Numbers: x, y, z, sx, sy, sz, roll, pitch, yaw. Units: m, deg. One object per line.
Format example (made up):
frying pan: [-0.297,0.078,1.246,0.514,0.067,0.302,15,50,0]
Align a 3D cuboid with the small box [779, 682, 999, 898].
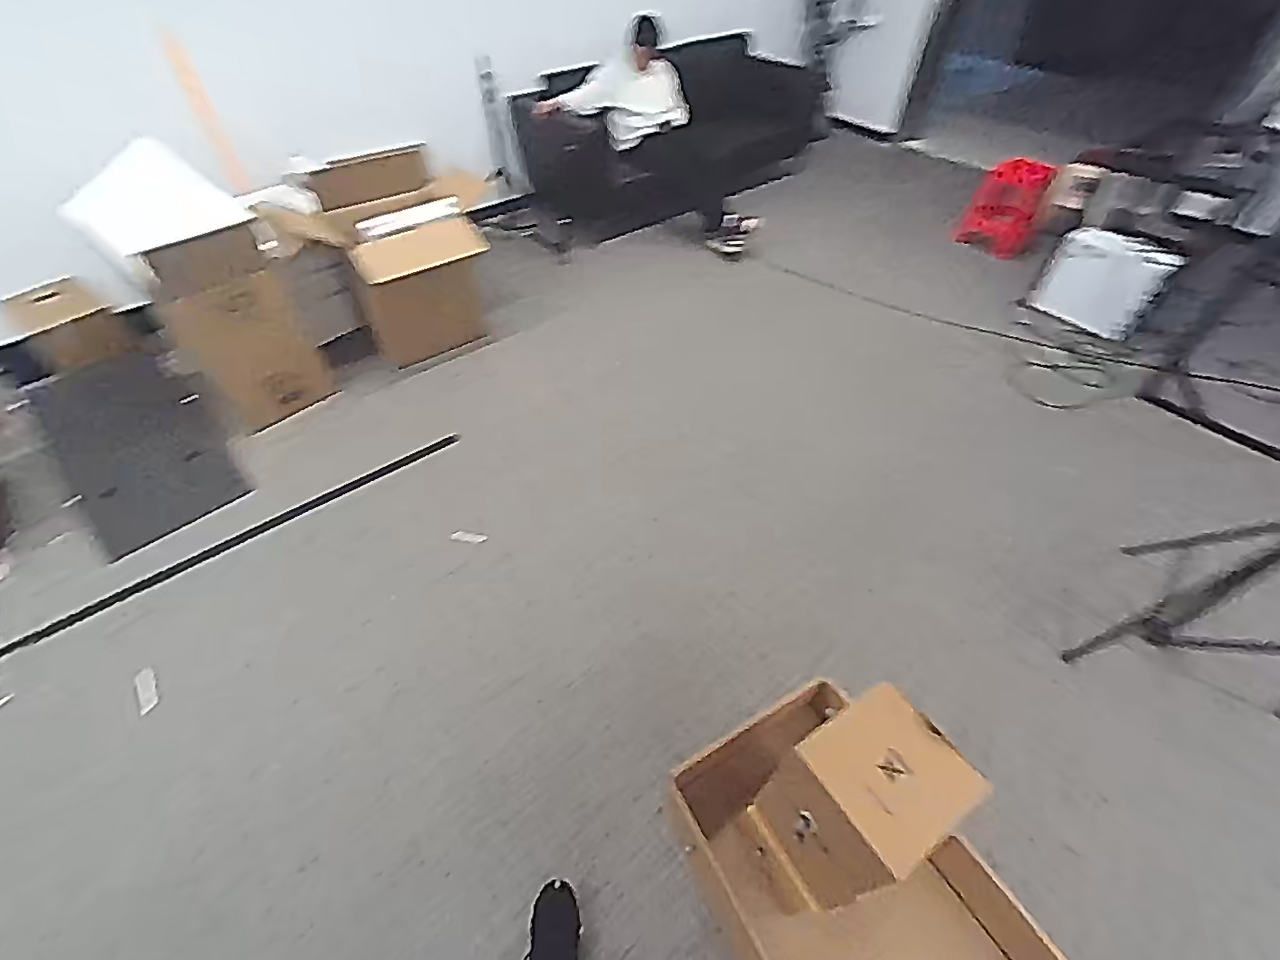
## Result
small box: [0.311,0.408,0.714,0.179,0.176,0.168,-23,52,-22]

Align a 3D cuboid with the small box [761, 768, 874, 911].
small box: [0.311,0.521,0.833,0.168,0.176,0.179,-22,53,-20]

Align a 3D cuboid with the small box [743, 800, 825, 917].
small box: [0.298,0.631,0.955,0.179,0.176,0.168,-23,53,-21]
